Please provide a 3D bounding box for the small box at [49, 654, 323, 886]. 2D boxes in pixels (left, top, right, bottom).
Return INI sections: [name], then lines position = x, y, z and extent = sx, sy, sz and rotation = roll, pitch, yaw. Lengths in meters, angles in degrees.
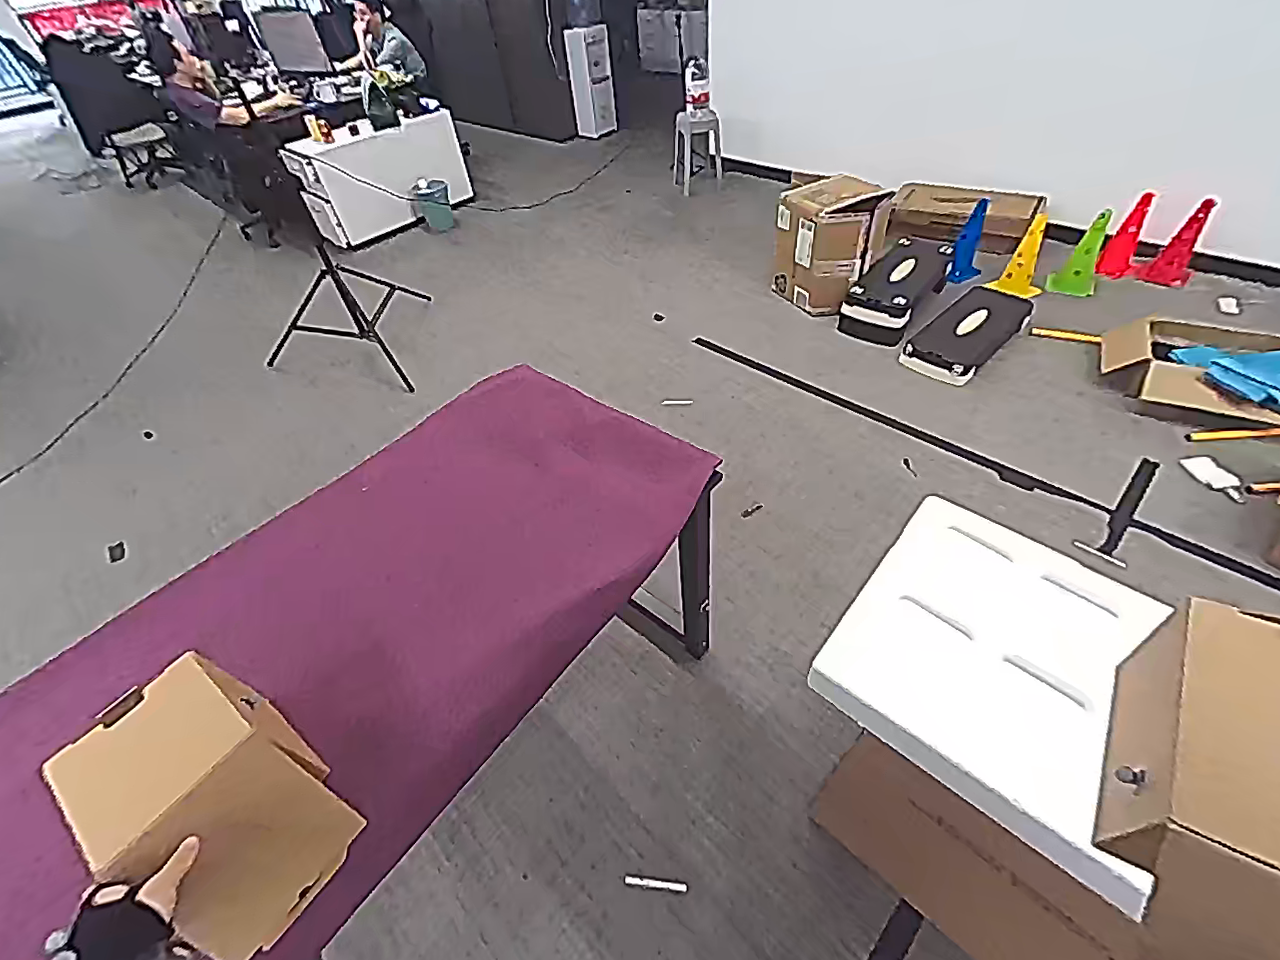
[small box]
position = -0.535, 0.355, 0.661
extent = 0.179, 0.176, 0.168
rotation = 24, 53, 28
